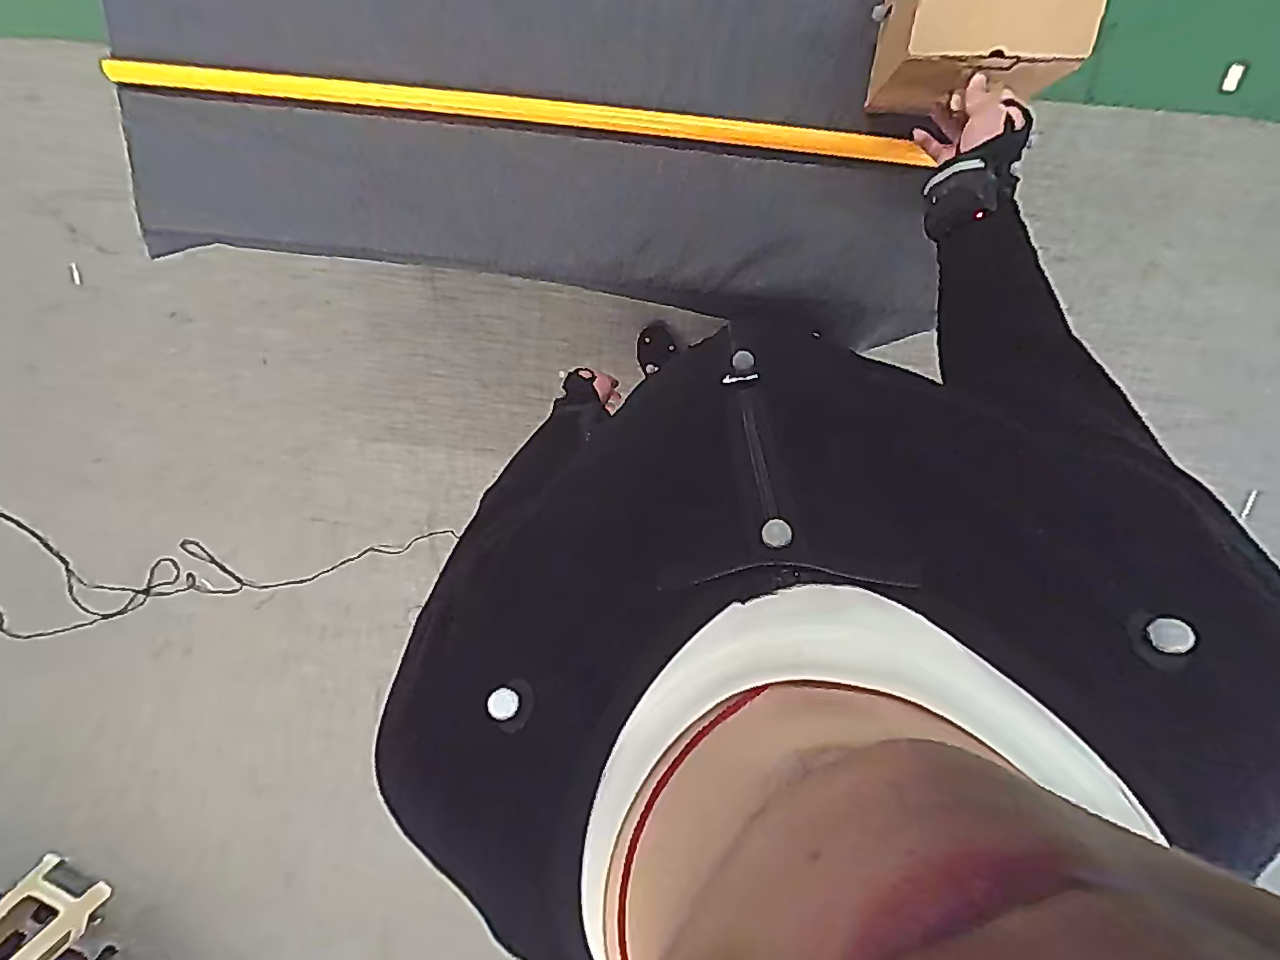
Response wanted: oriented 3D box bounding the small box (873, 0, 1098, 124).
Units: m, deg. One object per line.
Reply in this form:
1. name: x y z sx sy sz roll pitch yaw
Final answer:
1. small box: 0.361 -0.502 0.581 0.168 0.176 0.179 4 108 9
